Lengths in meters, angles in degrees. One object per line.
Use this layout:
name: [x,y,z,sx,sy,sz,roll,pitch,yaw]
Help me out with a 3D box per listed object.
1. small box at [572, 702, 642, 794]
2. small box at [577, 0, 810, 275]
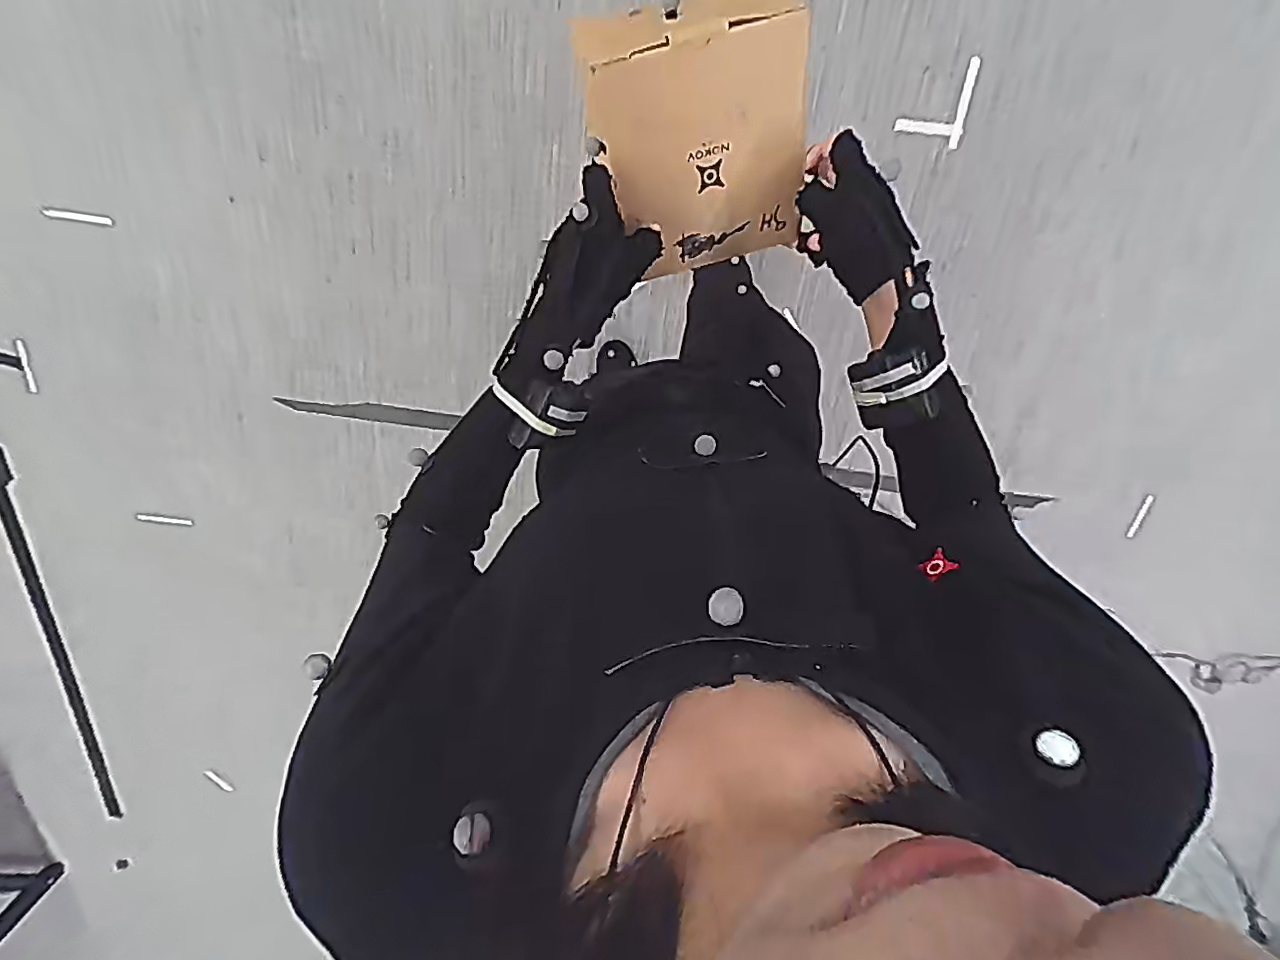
small box: [-0.093,0.775,1.574,0.179,0.176,0.168,9,112,-3]
small box: [0.044,-0.328,0.508,0.168,0.176,0.179,-14,137,0]
